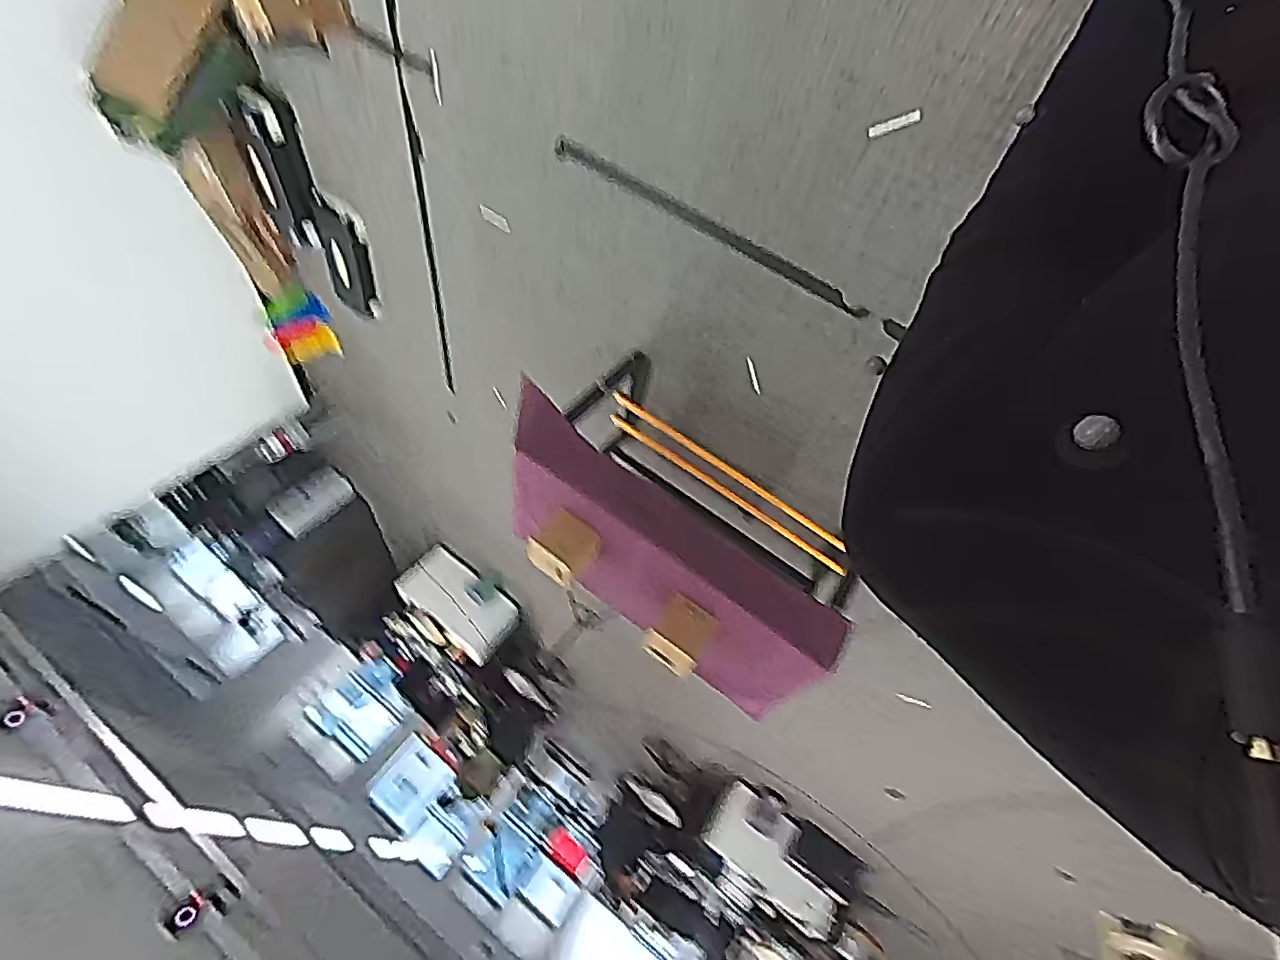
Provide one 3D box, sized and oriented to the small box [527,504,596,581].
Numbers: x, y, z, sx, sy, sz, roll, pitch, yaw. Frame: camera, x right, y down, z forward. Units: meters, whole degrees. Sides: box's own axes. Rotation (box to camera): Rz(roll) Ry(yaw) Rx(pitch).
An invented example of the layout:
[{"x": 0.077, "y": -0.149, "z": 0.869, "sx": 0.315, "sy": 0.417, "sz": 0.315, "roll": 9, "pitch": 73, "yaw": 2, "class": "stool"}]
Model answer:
[{"x": -0.274, "y": 0.217, "z": 1.898, "sx": 0.179, "sy": 0.176, "sz": 0.168, "roll": 35, "pitch": 145, "yaw": 12, "class": "small box"}]
